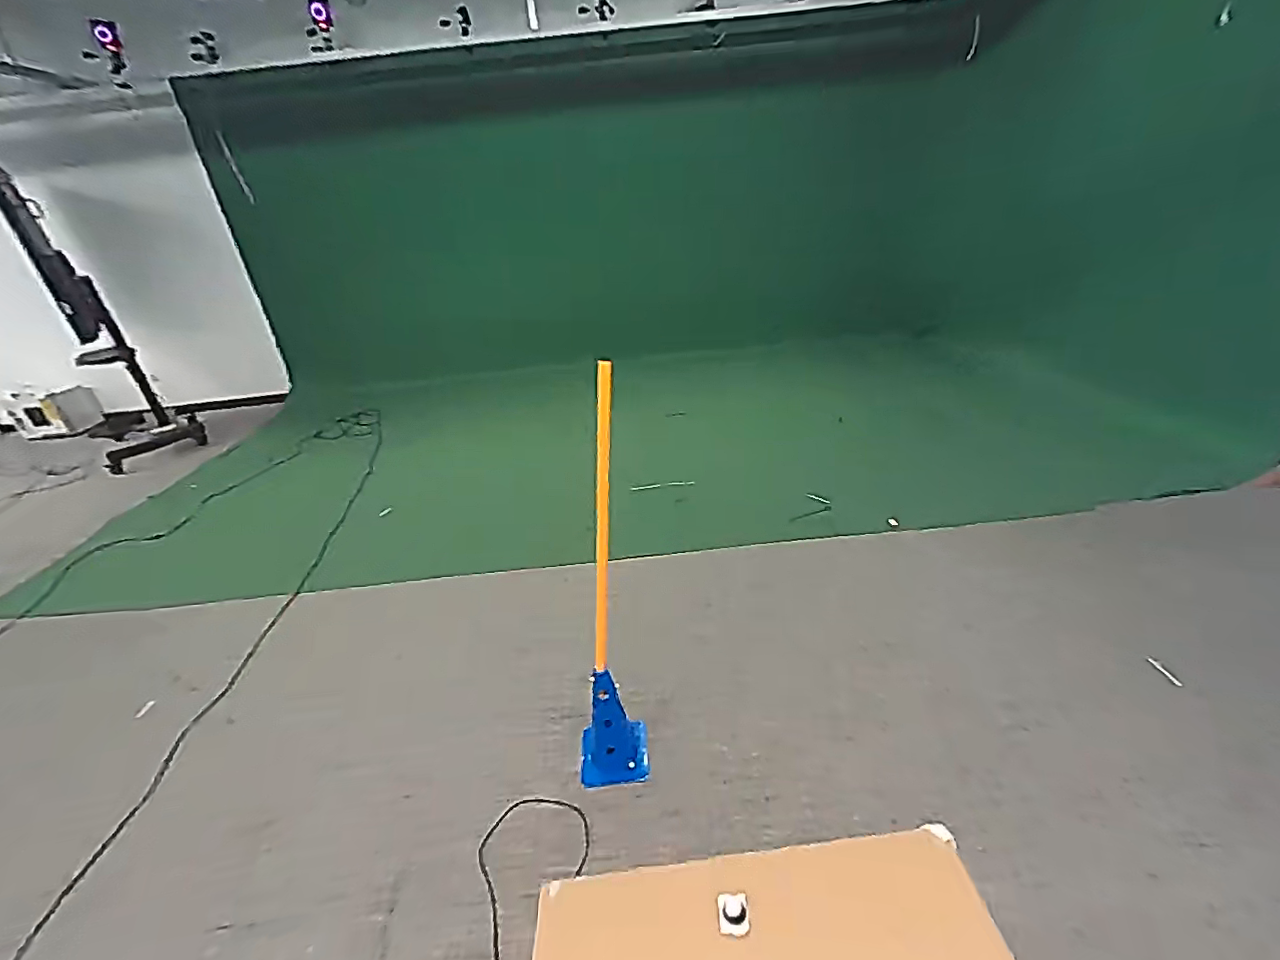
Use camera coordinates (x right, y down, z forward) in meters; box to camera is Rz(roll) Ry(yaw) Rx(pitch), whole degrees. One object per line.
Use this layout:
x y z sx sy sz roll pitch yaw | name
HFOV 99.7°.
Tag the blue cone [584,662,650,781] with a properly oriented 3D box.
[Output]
-0.083 0.660 1.545 0.193 0.380 0.192 -6 28 -3 | blue cone
